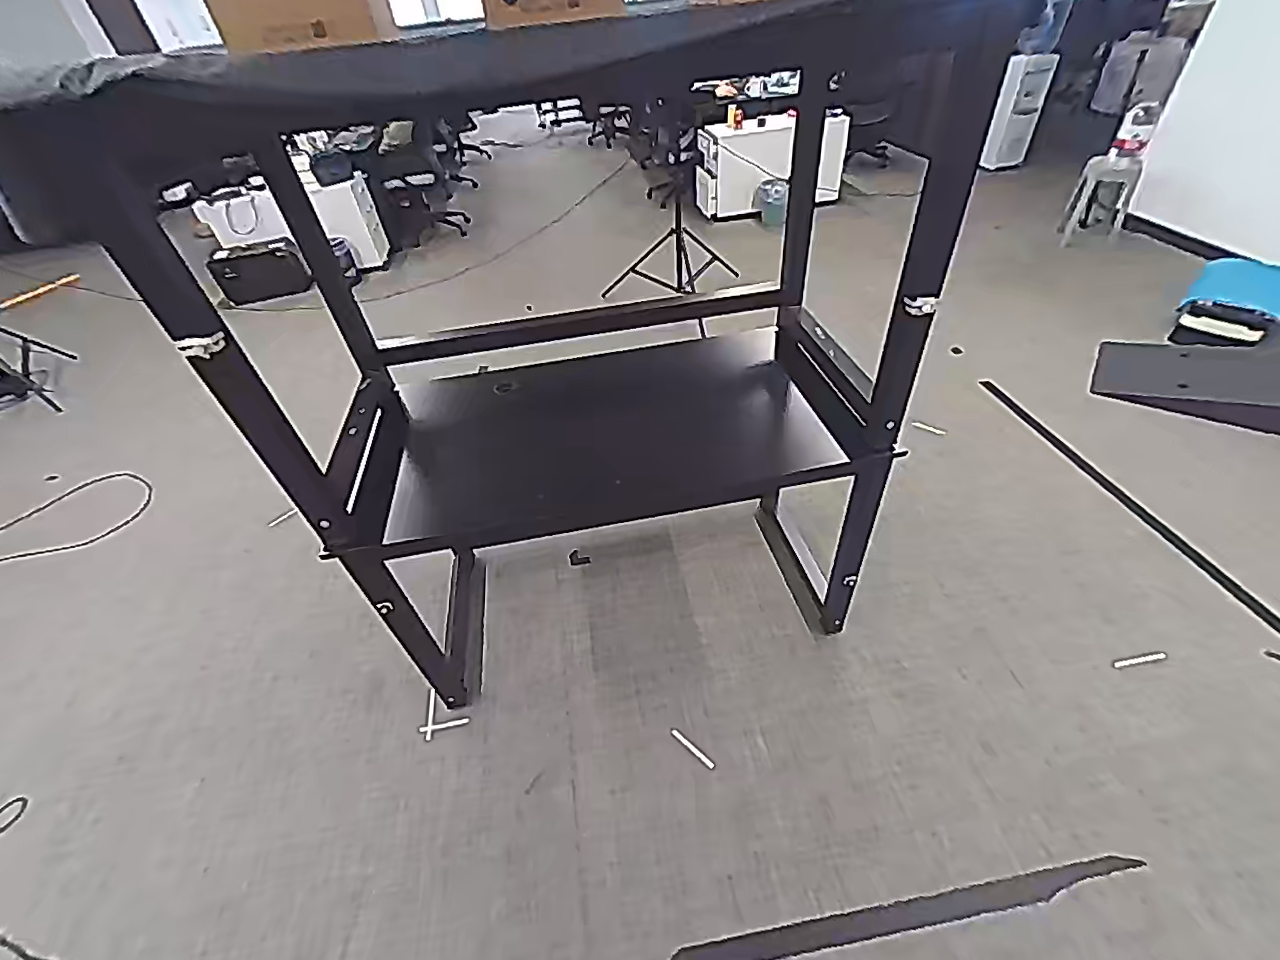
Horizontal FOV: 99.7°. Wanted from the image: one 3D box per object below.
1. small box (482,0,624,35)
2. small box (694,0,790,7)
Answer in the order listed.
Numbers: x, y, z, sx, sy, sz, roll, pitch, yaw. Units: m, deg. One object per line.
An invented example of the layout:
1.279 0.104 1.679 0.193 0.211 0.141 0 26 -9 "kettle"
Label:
-0.116 -0.647 0.641 0.168 0.176 0.179 -10 41 -4 "small box"
0.154 -0.695 0.658 0.168 0.176 0.179 -10 42 -2 "small box"
